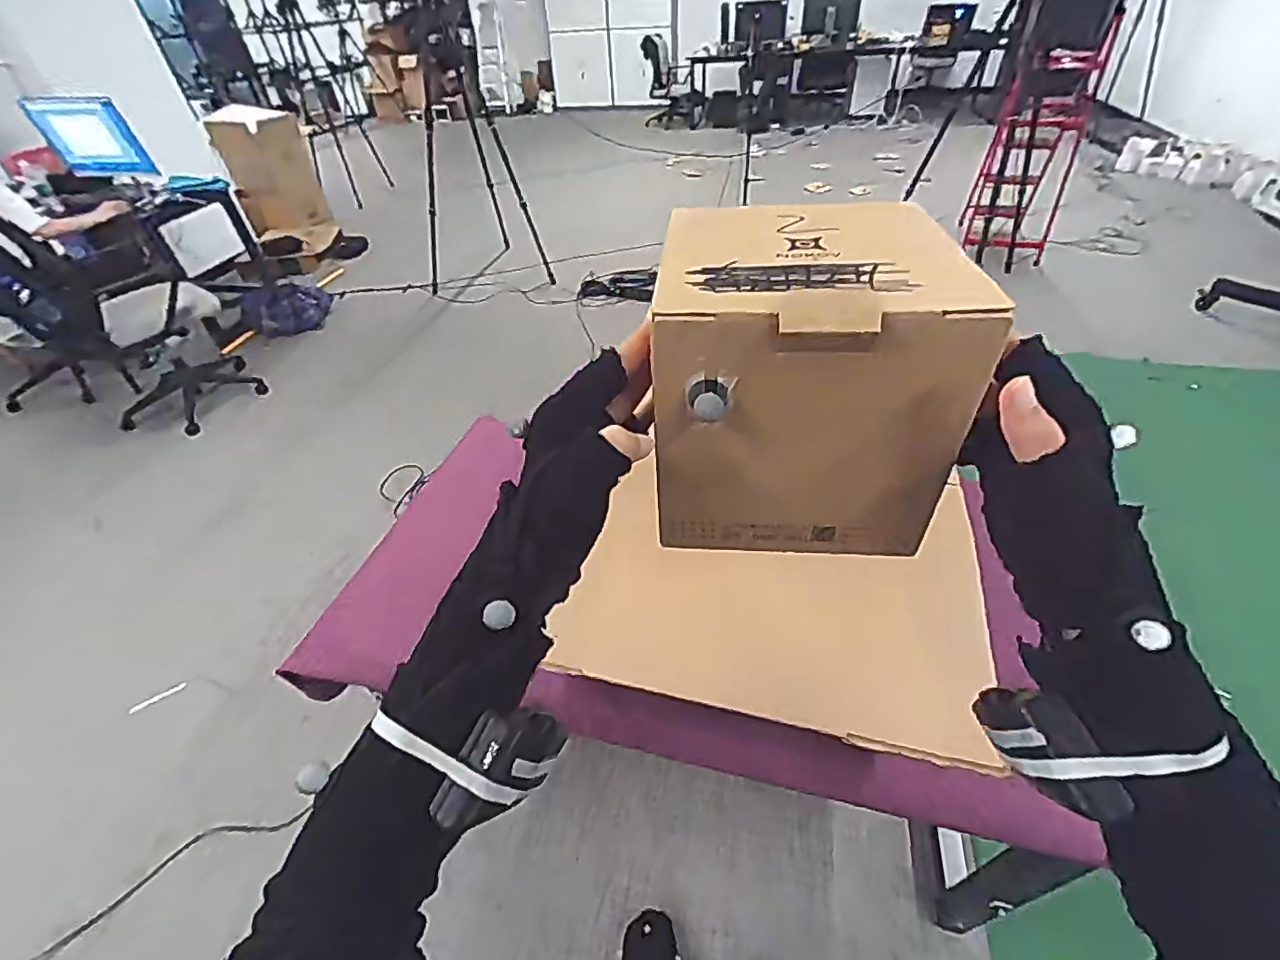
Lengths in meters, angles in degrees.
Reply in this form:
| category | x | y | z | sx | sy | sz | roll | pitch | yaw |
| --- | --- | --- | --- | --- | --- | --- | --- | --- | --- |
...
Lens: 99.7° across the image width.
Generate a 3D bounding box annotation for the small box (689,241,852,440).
| category | x | y | z | sx | sy | sz | roll | pitch | yaw |
| --- | --- | --- | --- | --- | --- | --- | --- | --- | --- |
| small box | 0.152 | -0.172 | 0.656 | 0.168 | 0.176 | 0.179 | 7 | 43 | 12 |
